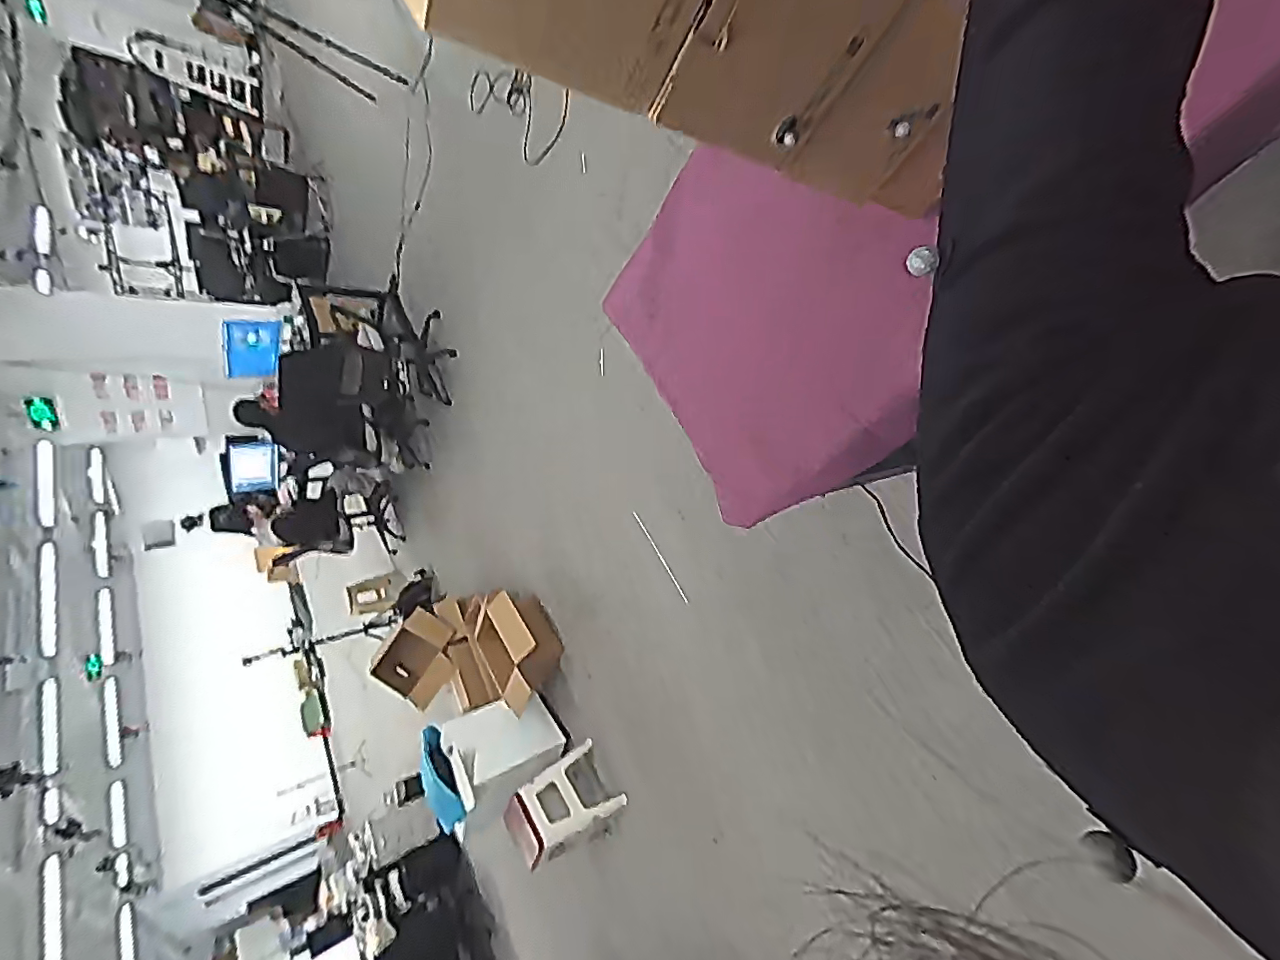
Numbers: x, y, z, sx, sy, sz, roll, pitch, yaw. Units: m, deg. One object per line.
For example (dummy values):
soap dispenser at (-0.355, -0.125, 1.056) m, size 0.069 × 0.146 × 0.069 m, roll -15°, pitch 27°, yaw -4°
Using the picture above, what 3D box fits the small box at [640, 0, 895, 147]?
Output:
small box at (0.079, -0.404, 0.435) m, size 0.168 × 0.176 × 0.179 m, roll -49°, pitch 59°, yaw 43°

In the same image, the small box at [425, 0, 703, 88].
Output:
small box at (-0.049, -0.389, 0.334) m, size 0.168 × 0.176 × 0.179 m, roll -49°, pitch 59°, yaw 45°

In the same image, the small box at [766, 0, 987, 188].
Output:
small box at (0.198, -0.428, 0.546) m, size 0.168 × 0.176 × 0.179 m, roll -50°, pitch 60°, yaw 44°

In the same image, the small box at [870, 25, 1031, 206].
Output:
small box at (0.318, -0.463, 0.652) m, size 0.168 × 0.176 × 0.179 m, roll -48°, pitch 61°, yaw 44°
